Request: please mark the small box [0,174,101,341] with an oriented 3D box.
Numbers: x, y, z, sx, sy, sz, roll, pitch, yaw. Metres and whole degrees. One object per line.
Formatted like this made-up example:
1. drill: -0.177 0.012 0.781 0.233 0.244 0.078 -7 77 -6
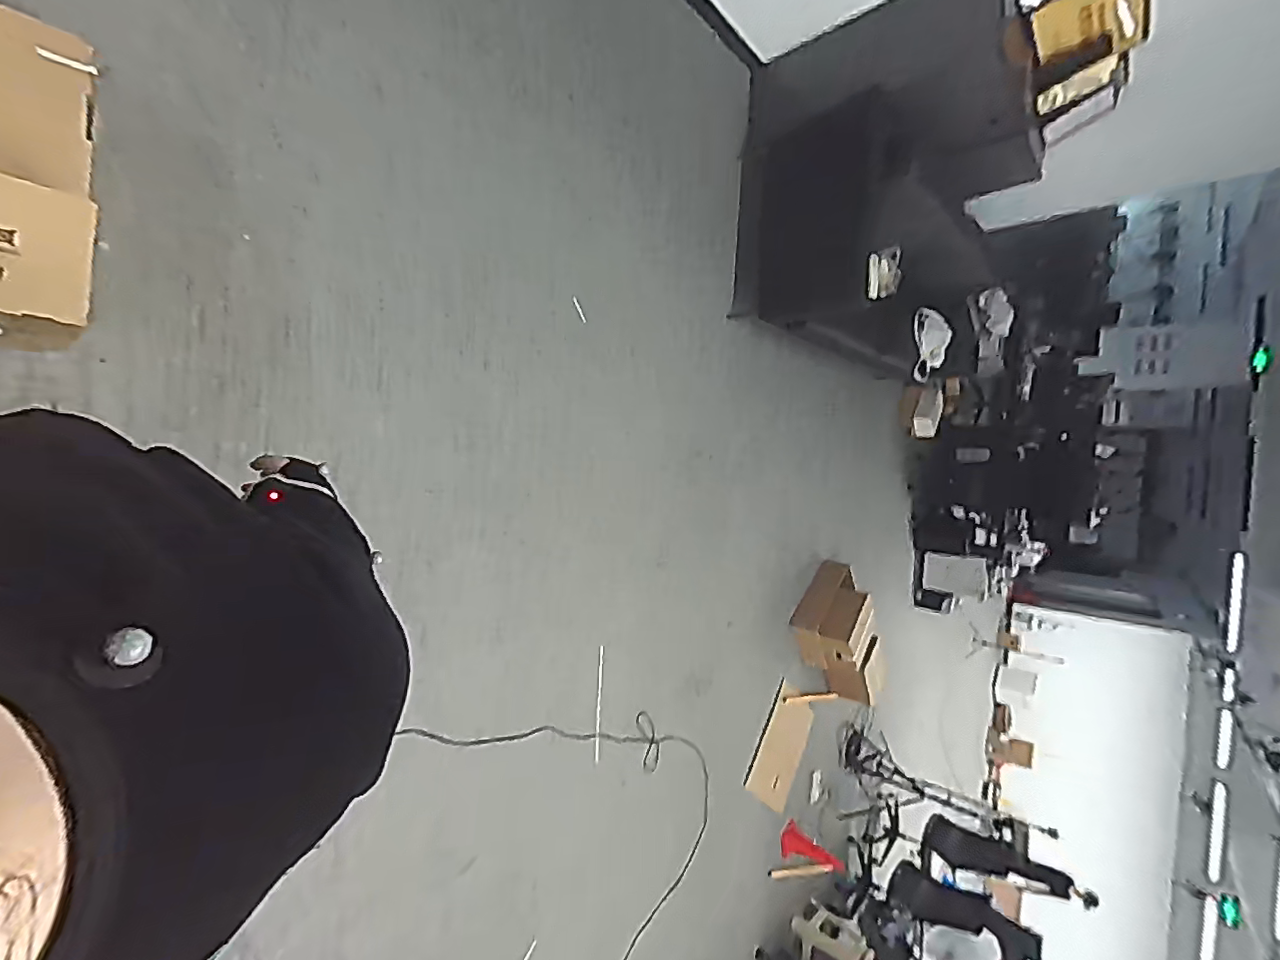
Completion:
1. small box: -0.869 -0.303 0.740 0.168 0.176 0.179 4 89 -49
